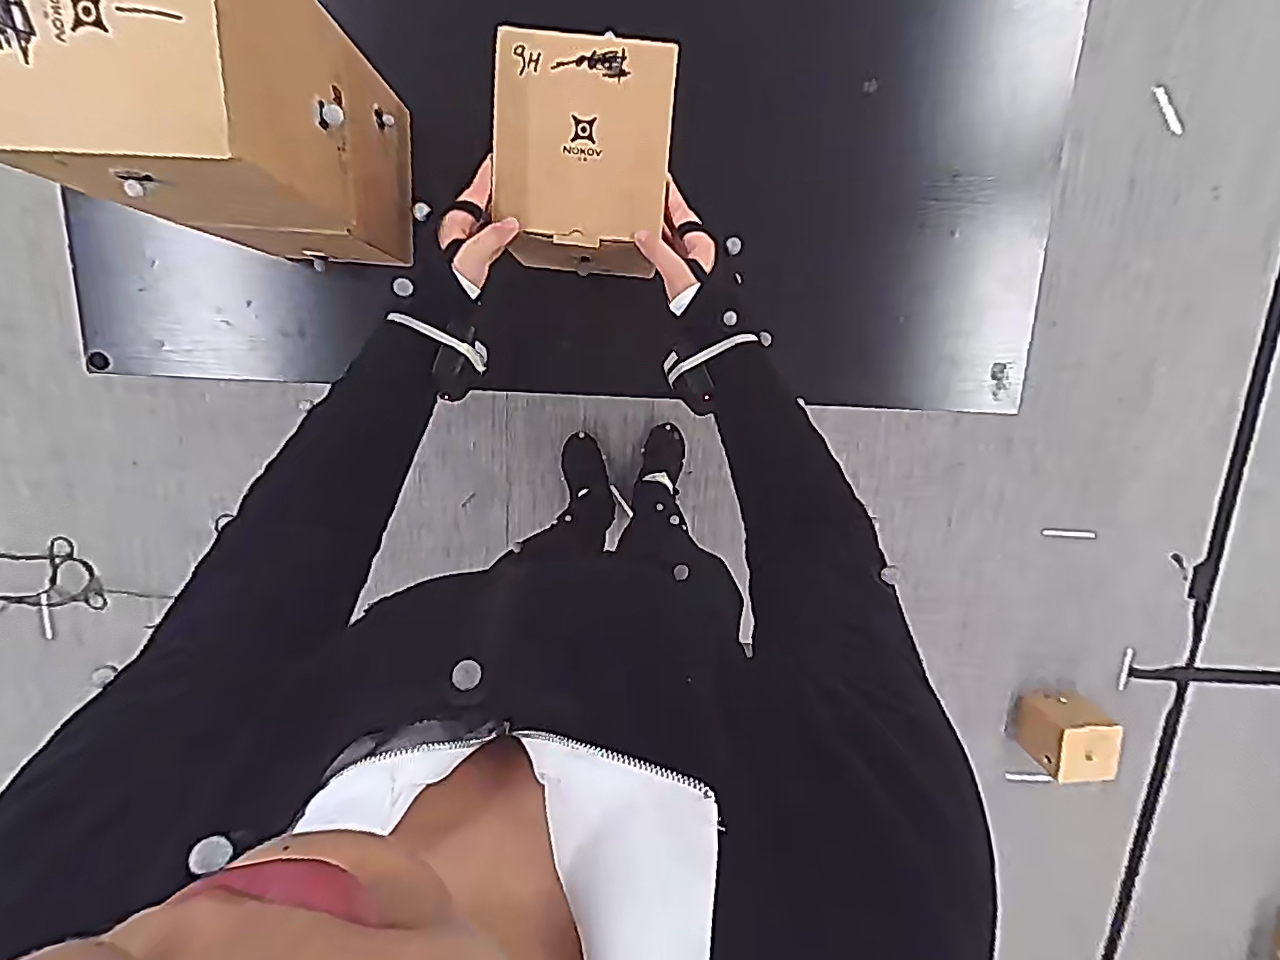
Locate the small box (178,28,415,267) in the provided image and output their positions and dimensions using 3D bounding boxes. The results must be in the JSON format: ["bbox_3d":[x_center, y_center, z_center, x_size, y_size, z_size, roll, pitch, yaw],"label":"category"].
[{"bbox_3d":[-0.352,-0.338,0.573,0.168,0.176,0.179,3,102,-2],"label":"small box"}]

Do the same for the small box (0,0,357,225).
[{"bbox_3d":[-0.346,-0.305,0.412,0.179,0.176,0.168,1,101,-2],"label":"small box"}]

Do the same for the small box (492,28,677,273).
[{"bbox_3d":[-0.055,-0.331,0.583,0.168,0.176,0.179,5,101,-2],"label":"small box"}]

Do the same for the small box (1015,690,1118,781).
[{"bbox_3d":[1.238,0.744,1.582,0.168,0.176,0.179,-3,102,-1],"label":"small box"}]
